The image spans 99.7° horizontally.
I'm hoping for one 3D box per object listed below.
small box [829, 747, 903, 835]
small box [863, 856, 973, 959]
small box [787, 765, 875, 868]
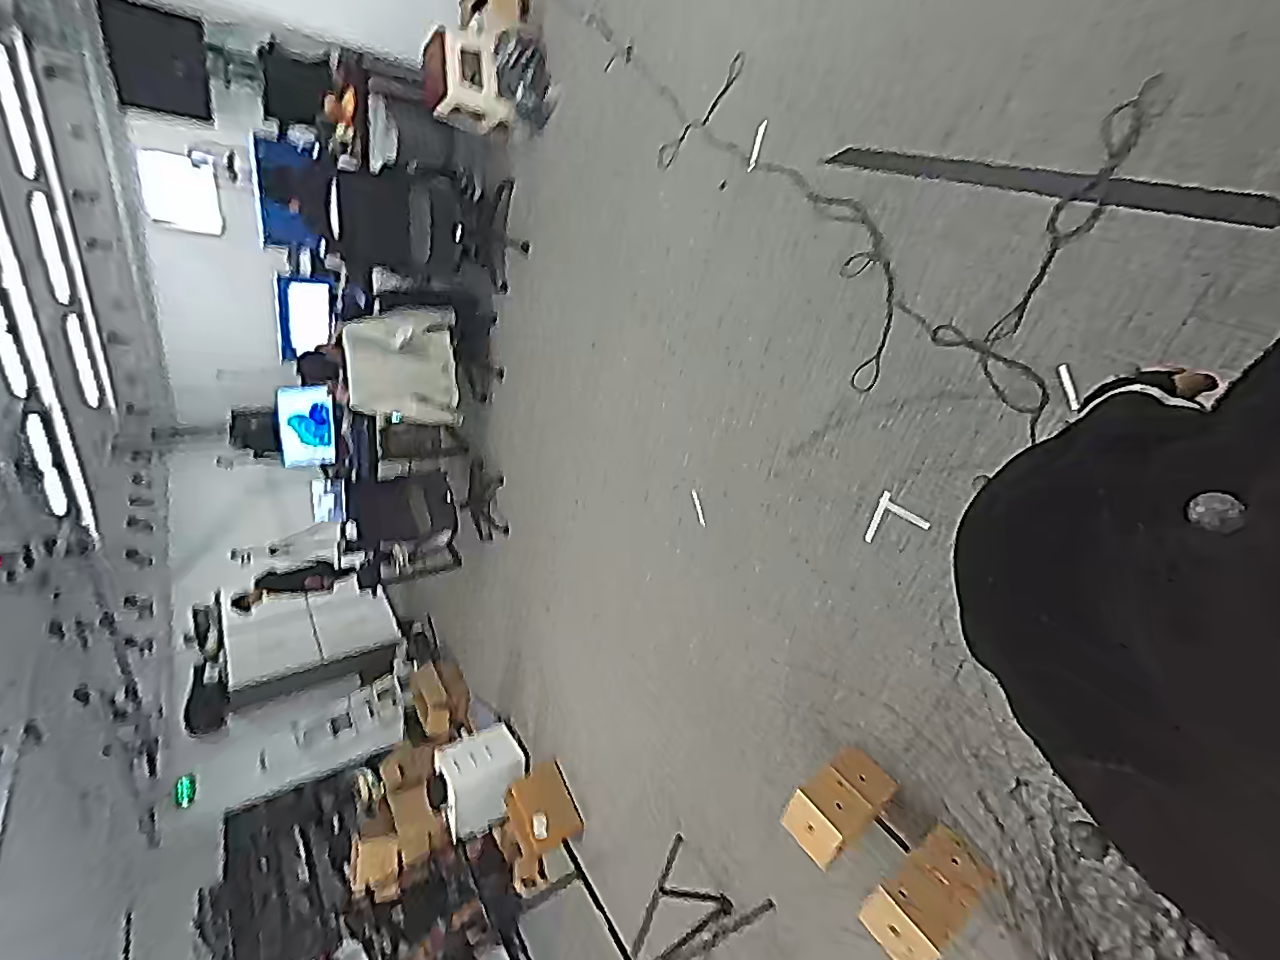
[{"bbox_3d":[0.708,0.999,1.752,0.179,0.176,0.168,39,128,40],"label":"small box"},{"bbox_3d":[0.749,1.163,1.459,0.179,0.176,0.168,40,129,41],"label":"small box"},{"bbox_3d":[0.585,1.014,1.646,0.168,0.176,0.179,38,127,42],"label":"small box"}]
